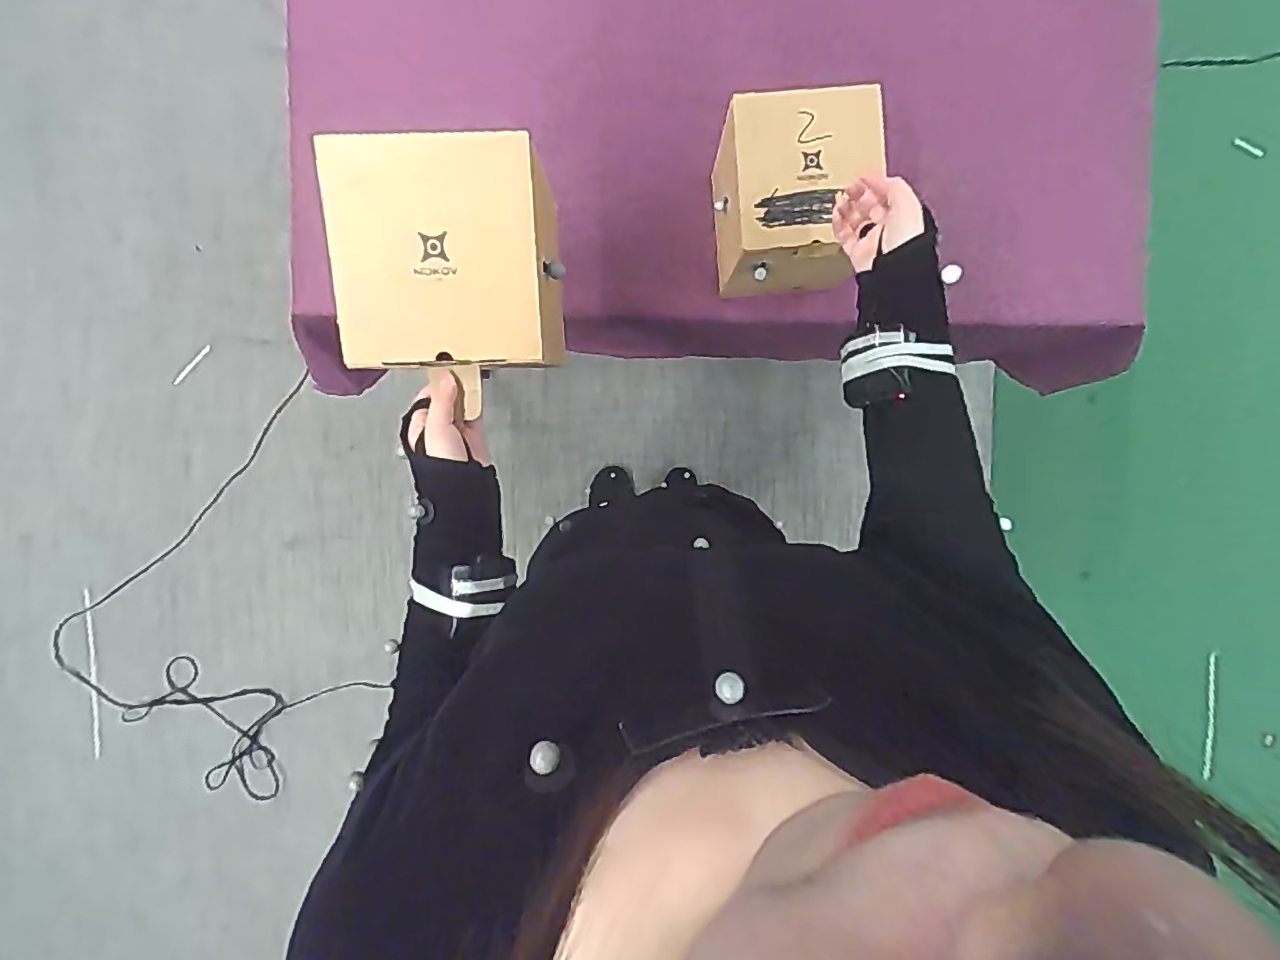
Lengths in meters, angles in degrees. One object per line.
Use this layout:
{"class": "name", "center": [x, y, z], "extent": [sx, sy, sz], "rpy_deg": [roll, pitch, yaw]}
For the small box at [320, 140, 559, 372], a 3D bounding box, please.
{"class": "small box", "center": [-0.171, -0.195, 0.518], "extent": [0.168, 0.176, 0.179], "rpy_deg": [-2, 102, -2]}
